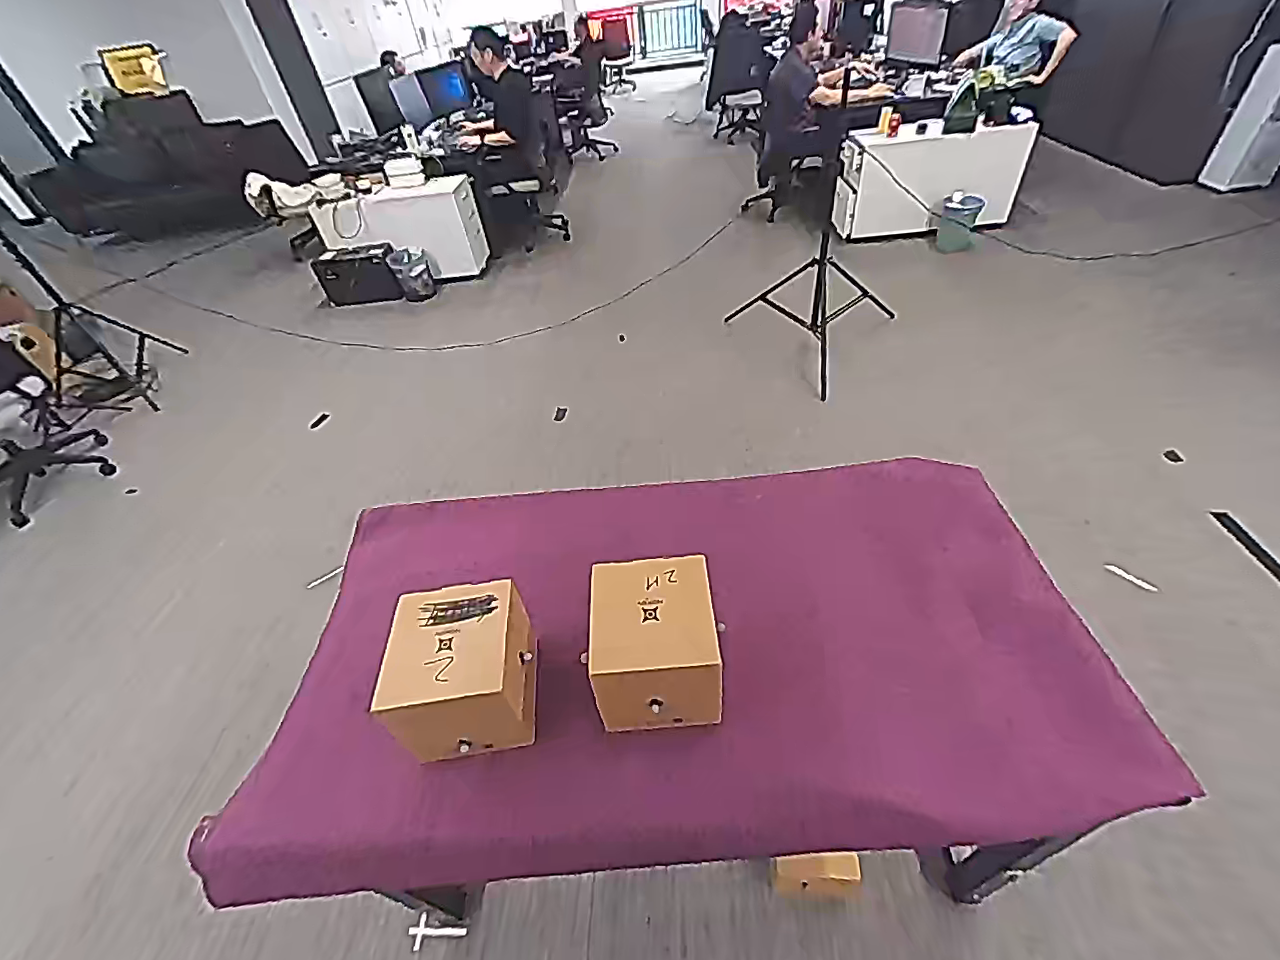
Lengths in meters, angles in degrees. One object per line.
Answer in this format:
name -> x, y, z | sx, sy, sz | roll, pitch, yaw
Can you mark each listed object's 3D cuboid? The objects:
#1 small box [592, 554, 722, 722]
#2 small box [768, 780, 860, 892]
small box -> 0.027, 0.232, 0.779 | 0.168, 0.176, 0.179 | -5, 42, 2
small box -> 0.377, 0.794, 1.203 | 0.168, 0.176, 0.179 | -2, 43, 7
